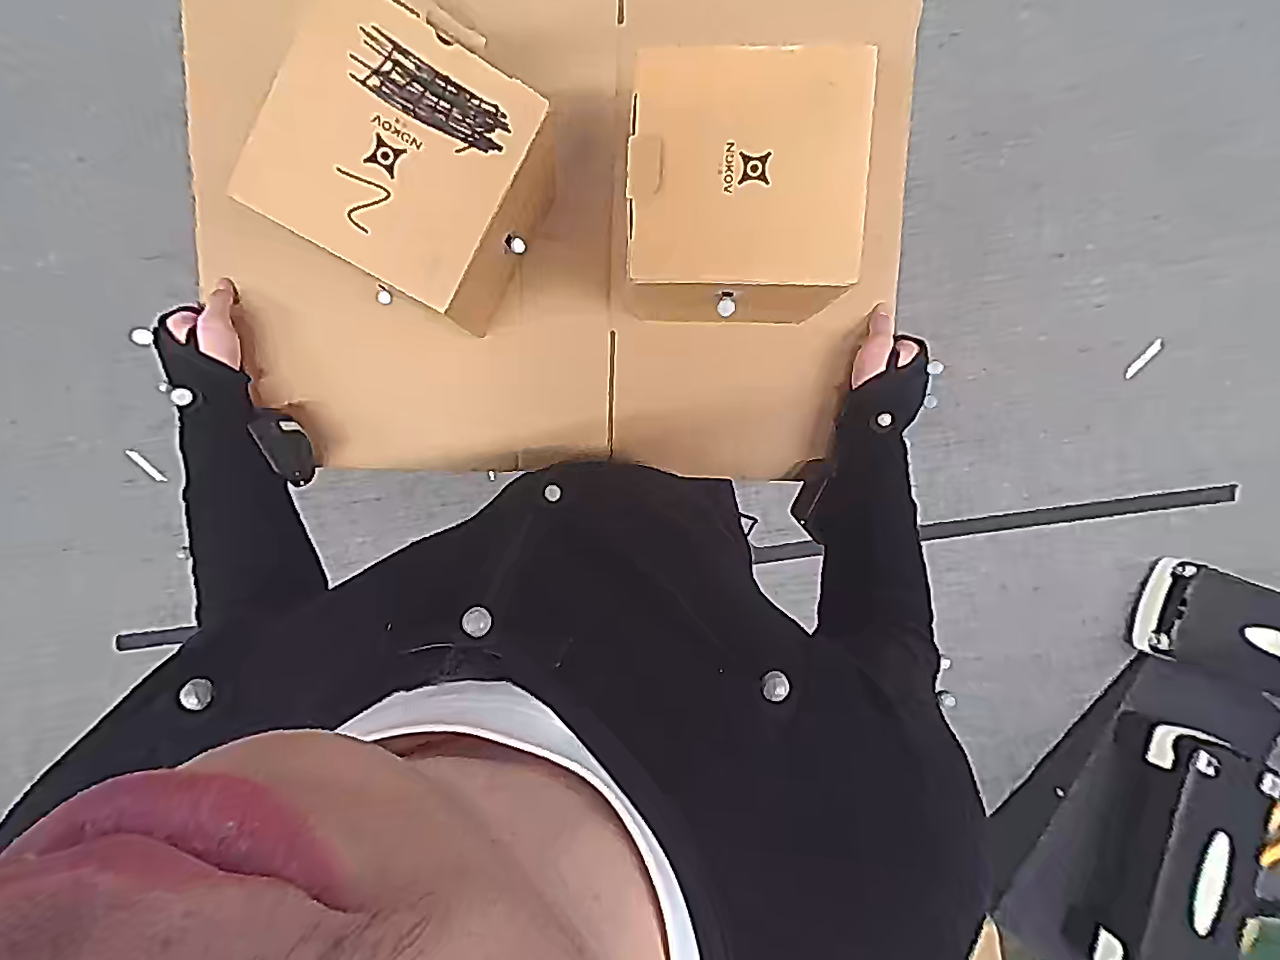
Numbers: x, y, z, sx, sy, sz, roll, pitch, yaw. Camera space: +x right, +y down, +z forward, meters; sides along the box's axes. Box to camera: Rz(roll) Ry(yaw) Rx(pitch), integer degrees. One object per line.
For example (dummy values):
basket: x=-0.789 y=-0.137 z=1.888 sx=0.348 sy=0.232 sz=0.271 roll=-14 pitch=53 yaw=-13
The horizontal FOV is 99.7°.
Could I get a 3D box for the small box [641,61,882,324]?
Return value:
small box: x=0.095 y=-0.241 z=0.495 sx=0.179 sy=0.176 sz=0.168 roll=3 pitch=97 yaw=4
